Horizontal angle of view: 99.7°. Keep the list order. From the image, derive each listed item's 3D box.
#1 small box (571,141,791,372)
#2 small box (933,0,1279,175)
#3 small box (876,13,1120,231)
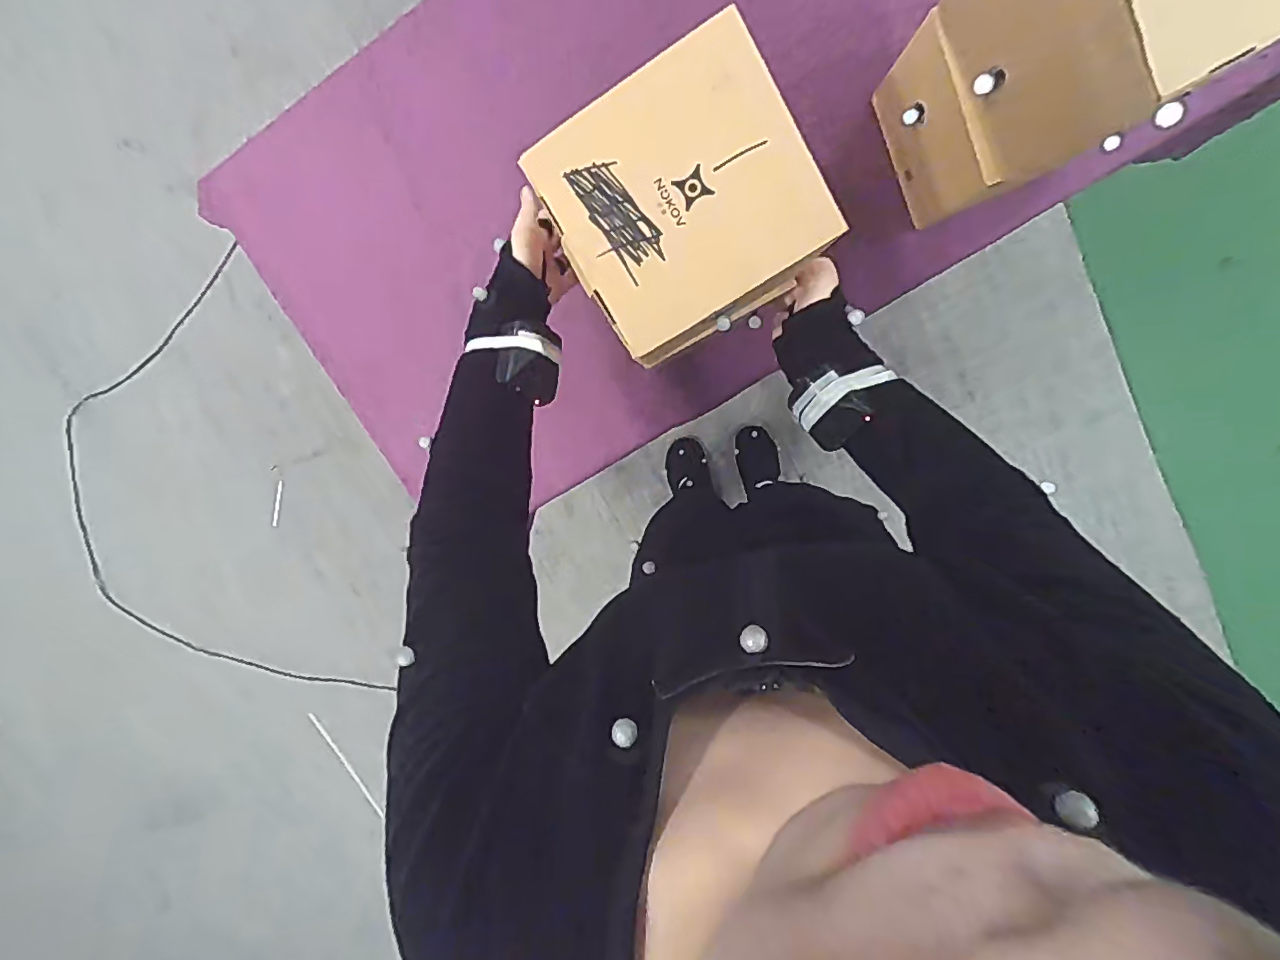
[{"bbox_3d":[0.046,-0.237,0.623,0.179,0.176,0.168,-26,97,9],"label":"small box"},{"bbox_3d":[0.362,-0.363,0.407,0.168,0.176,0.179,-27,98,8],"label":"small box"},{"bbox_3d":[0.372,-0.392,0.568,0.179,0.176,0.168,-23,98,8],"label":"small box"}]
